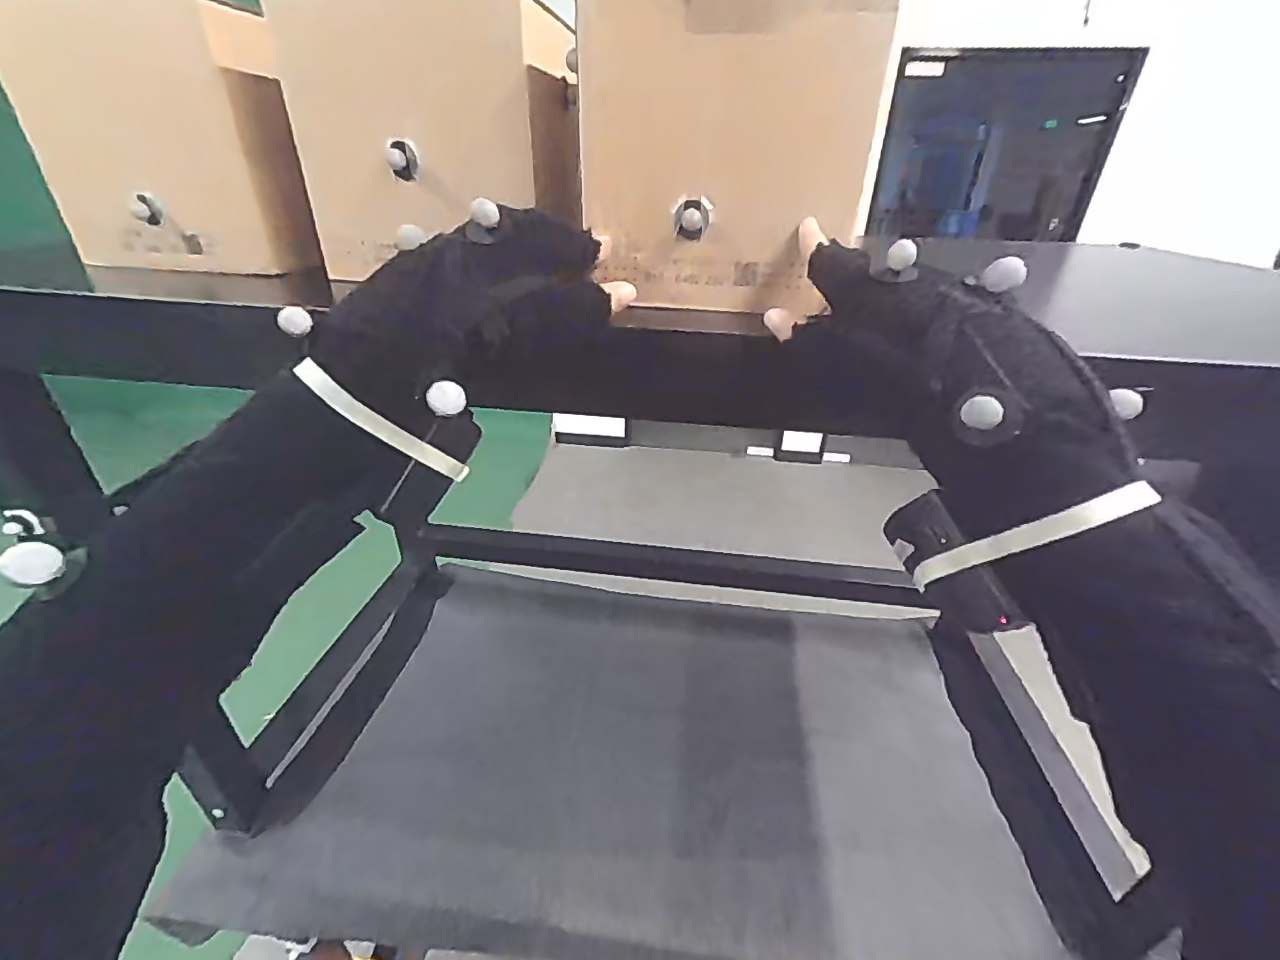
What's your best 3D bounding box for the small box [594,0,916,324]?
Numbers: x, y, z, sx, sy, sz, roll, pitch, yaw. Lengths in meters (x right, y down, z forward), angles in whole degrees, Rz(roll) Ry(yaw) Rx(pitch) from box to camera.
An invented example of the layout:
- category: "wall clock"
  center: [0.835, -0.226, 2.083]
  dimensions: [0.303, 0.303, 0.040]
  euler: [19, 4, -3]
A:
- category: "small box"
  center: [0.062, -0.219, 0.378]
  dimensions: [0.168, 0.176, 0.179]
  euler: [5, 31, 5]
